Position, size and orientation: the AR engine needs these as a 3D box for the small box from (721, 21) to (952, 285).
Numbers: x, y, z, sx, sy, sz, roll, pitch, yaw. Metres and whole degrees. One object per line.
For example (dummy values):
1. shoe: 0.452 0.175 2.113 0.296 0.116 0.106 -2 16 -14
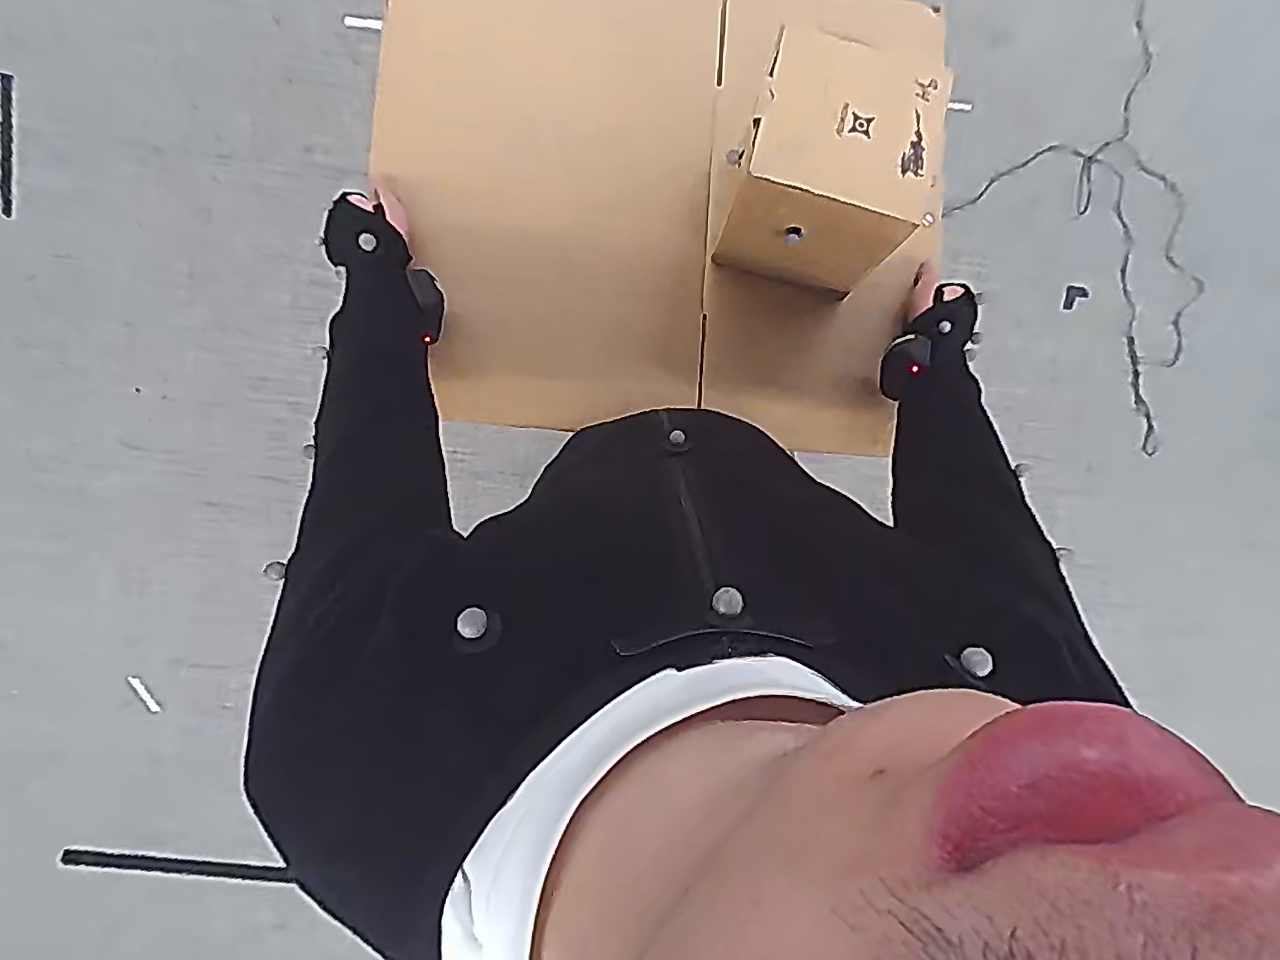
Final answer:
1. small box: 0.200 -0.342 0.600 0.179 0.176 0.168 15 85 -1
